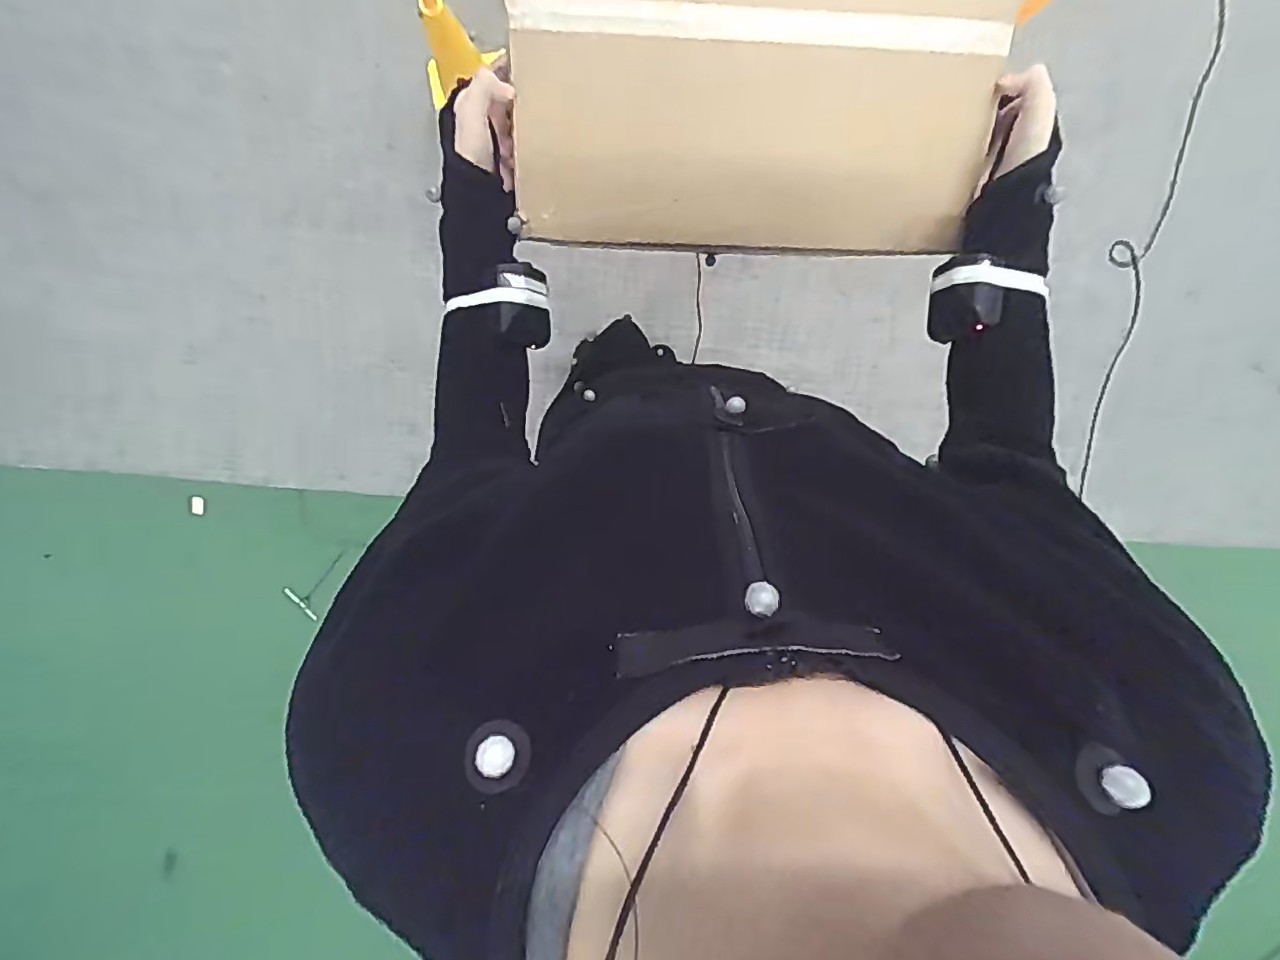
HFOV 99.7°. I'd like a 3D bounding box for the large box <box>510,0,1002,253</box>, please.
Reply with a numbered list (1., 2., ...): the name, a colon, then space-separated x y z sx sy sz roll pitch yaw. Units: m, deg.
1. large box: 0.089 -0.414 0.580 0.408 0.320 0.320 0 111 -3
